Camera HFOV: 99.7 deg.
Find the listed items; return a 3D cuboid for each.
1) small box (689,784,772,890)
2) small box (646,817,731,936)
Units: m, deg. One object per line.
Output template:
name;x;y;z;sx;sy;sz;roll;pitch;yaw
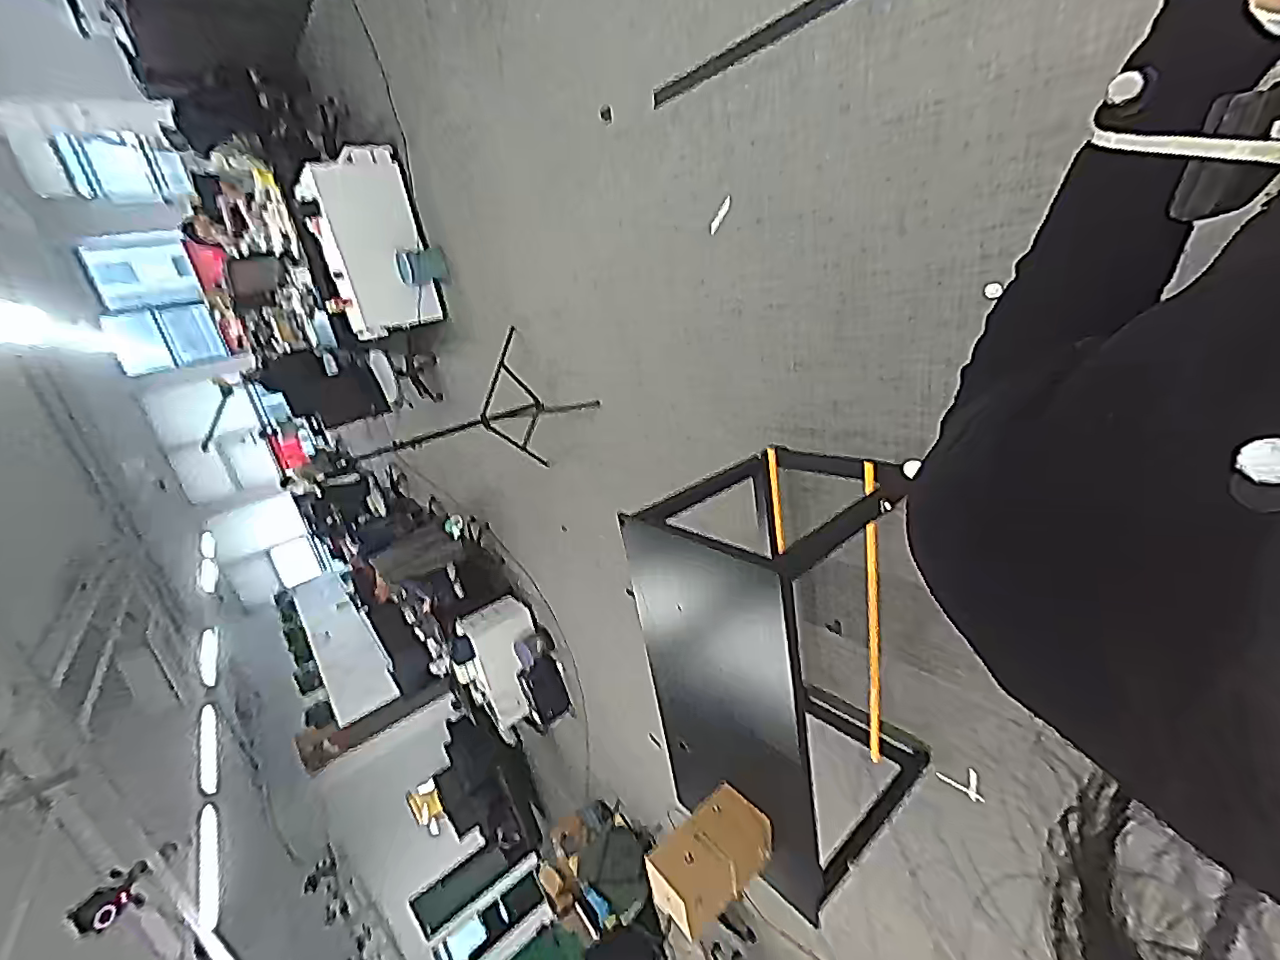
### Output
small box;0.271;1.053;1.616;0.179;0.176;0.168;19;126;48
small box;0.140;1.114;1.535;0.168;0.176;0.179;20;127;49
